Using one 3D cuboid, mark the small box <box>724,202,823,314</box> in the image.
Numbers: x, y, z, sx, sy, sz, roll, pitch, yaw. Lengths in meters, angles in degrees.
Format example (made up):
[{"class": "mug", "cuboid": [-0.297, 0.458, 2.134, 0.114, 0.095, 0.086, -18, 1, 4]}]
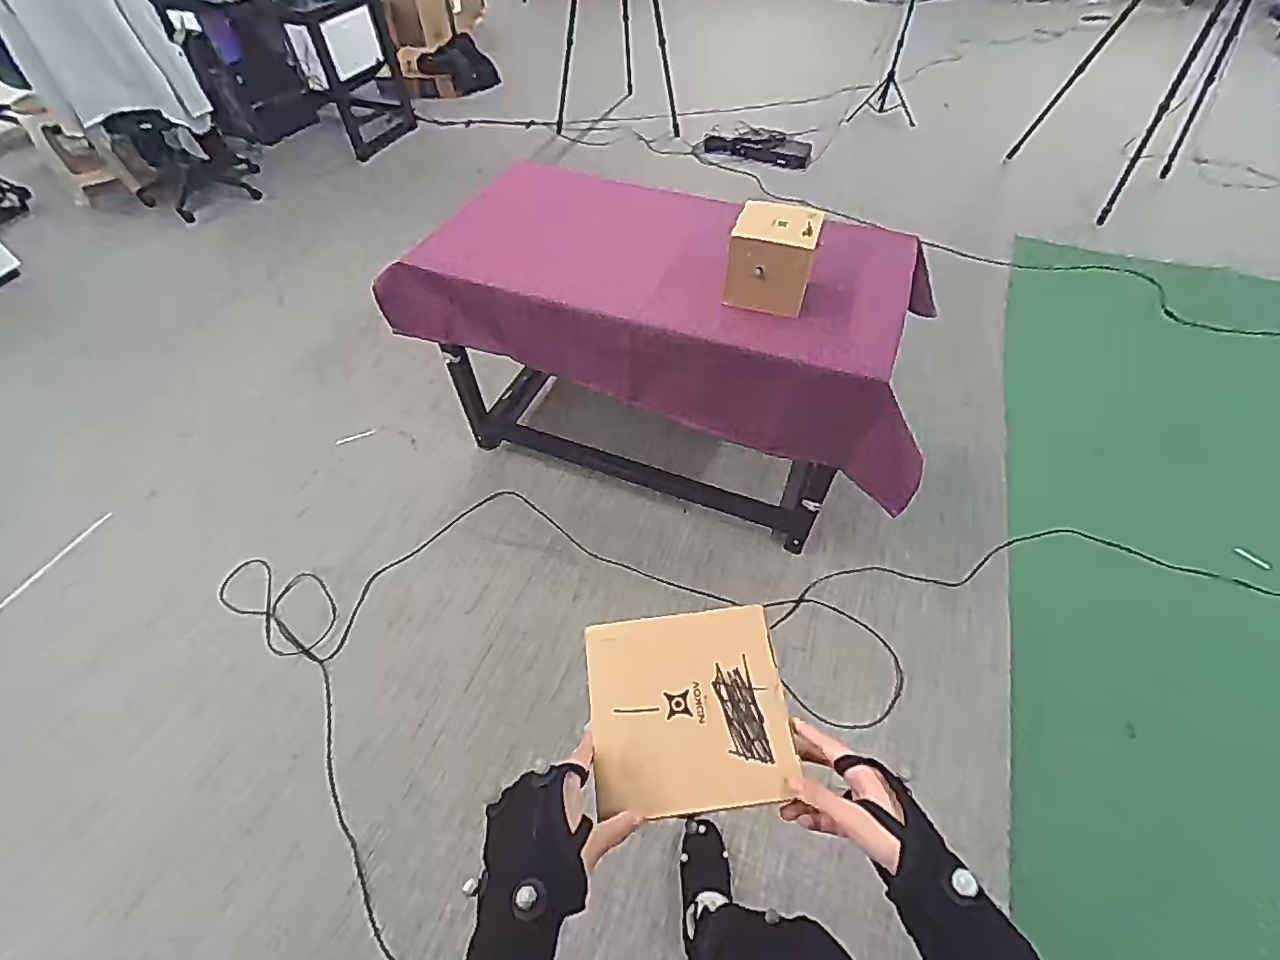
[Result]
[{"class": "small box", "cuboid": [0.293, -0.496, 1.213, 0.179, 0.176, 0.168, 15, 54, 13]}]
